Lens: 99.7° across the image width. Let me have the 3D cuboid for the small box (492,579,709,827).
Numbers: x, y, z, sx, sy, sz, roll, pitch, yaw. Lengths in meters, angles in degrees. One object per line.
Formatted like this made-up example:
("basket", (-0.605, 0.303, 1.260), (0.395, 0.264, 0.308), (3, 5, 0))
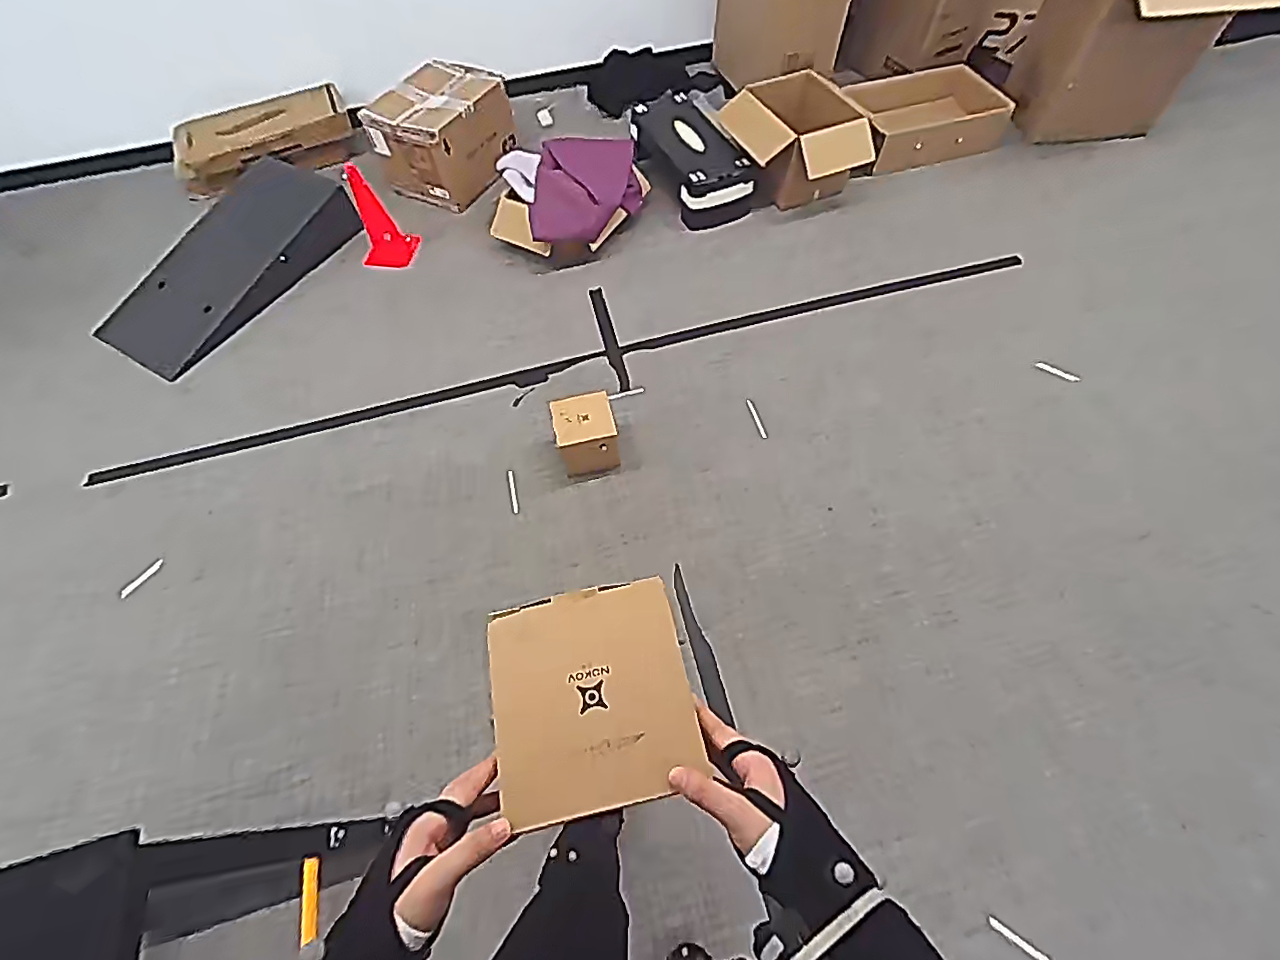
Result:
("small box", (-0.040, 0.221, 0.532), (0.168, 0.176, 0.179), (-12, 60, -5))

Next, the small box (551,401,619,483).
("small box", (-0.163, -0.113, 1.647), (0.179, 0.176, 0.168), (-13, 60, -4))
